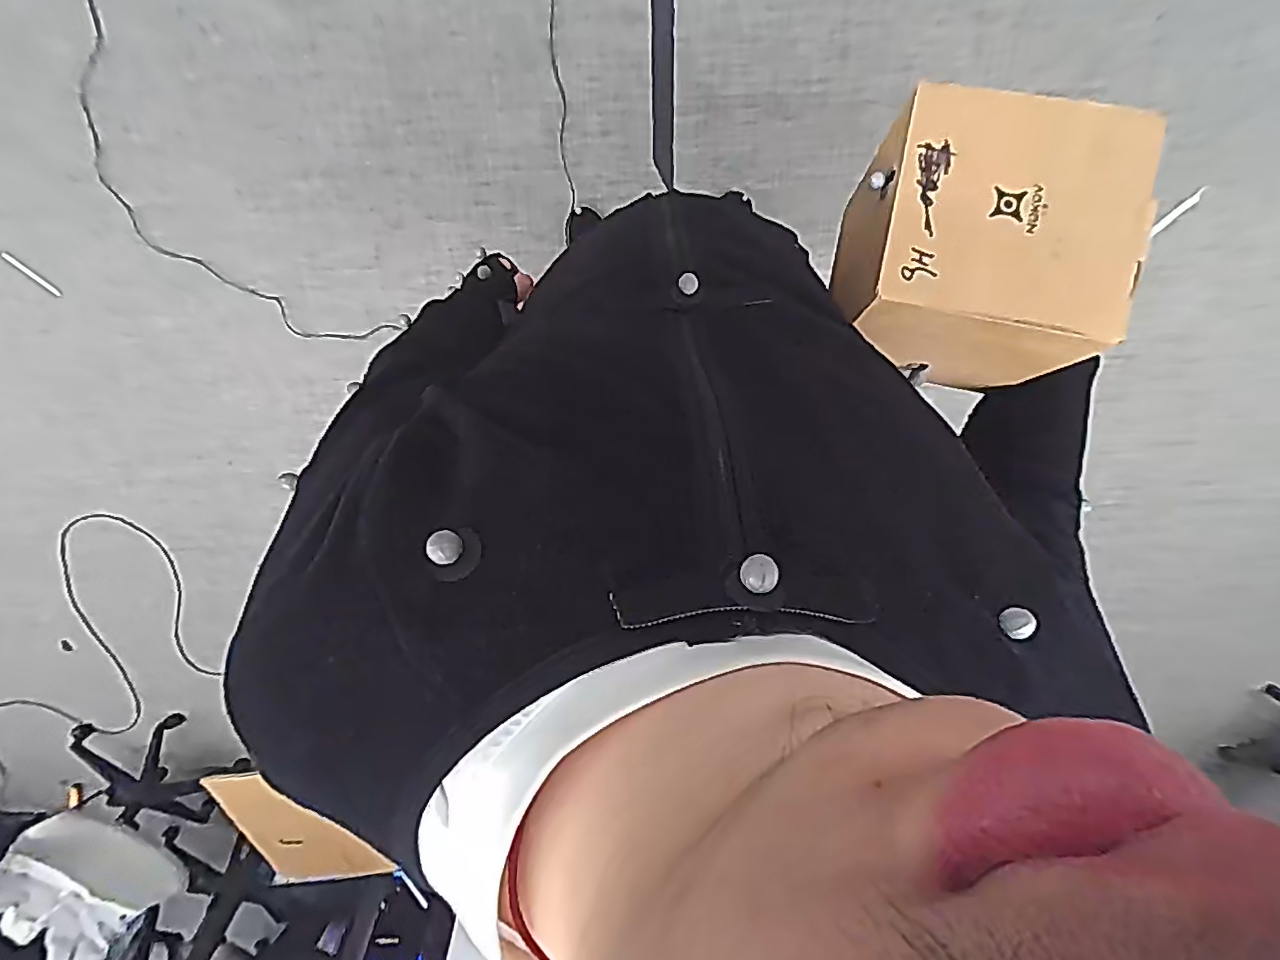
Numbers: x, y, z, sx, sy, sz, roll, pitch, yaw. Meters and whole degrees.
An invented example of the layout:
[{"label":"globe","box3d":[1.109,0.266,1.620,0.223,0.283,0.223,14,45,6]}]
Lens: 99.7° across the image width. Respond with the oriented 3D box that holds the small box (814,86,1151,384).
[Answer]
[{"label":"small box","box3d":[0.276,-0.193,0.477,0.179,0.176,0.168,13,87,3]}]
